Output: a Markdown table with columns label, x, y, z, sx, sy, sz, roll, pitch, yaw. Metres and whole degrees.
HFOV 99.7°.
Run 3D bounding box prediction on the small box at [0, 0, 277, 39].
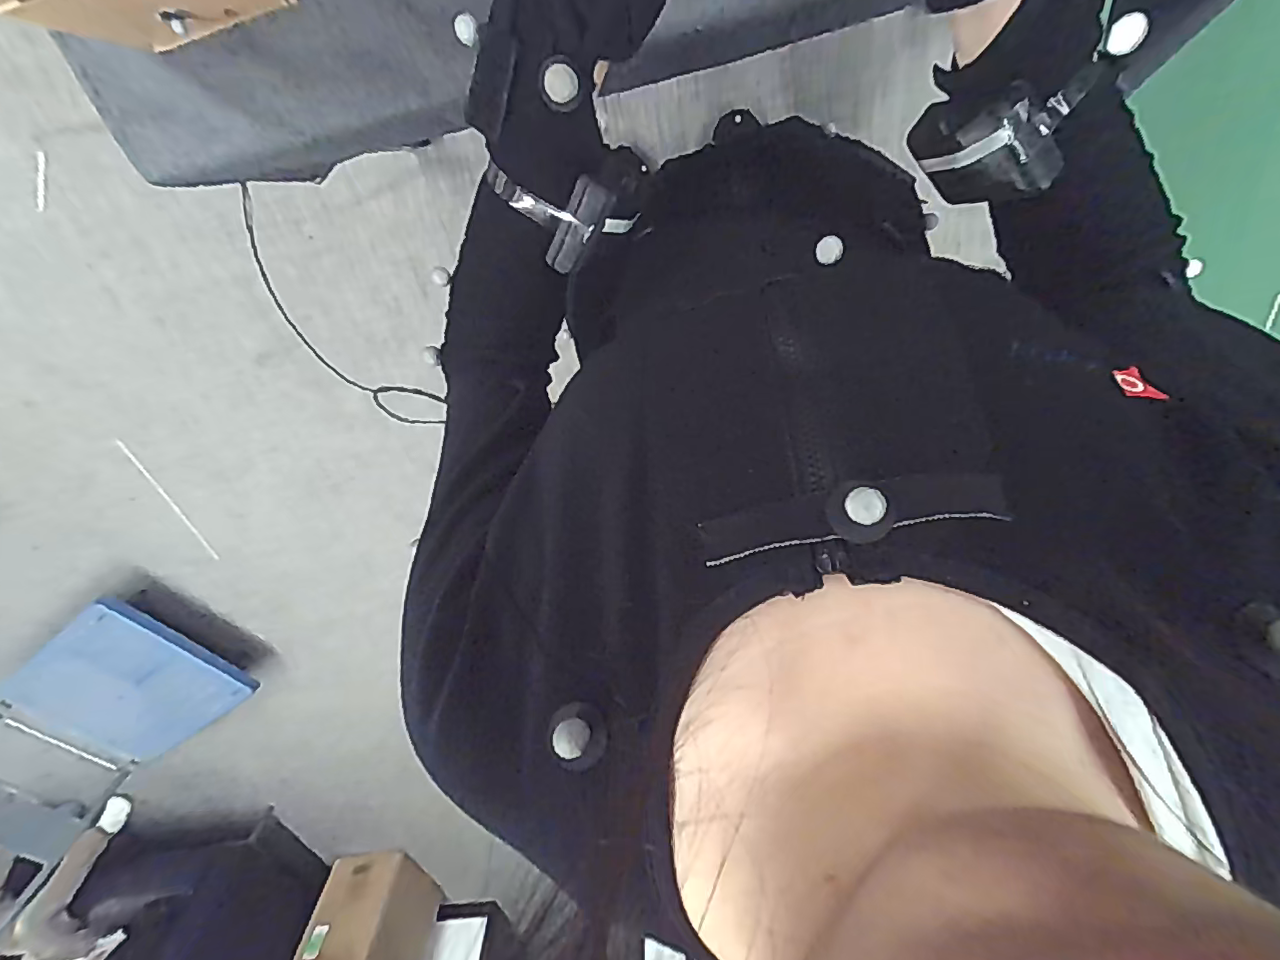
| label | x | y | z | sx | sy | sz | roll | pitch | yaw |
| --- | --- | --- | --- | --- | --- | --- | --- | --- | --- |
| small box | -0.424 | -0.475 | 0.409 | 0.168 | 0.176 | 0.179 | -12 | 121 | 8 |
